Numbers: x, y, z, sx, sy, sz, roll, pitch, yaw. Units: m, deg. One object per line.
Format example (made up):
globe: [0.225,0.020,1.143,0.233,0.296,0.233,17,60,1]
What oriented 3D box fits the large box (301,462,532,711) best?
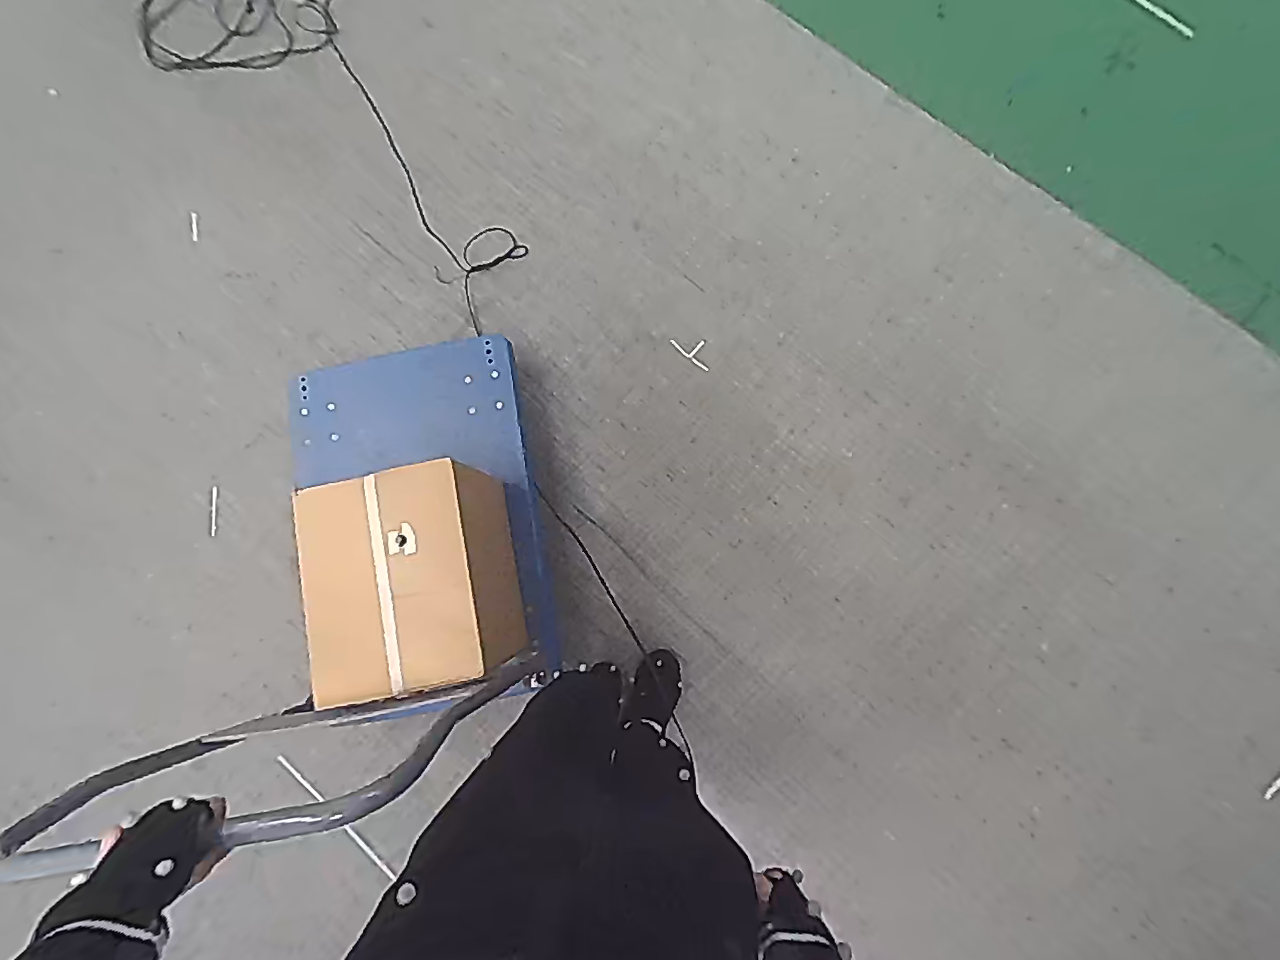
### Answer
large box: [-0.443,0.212,1.128,0.320,0.320,0.408,-12,80,1]
